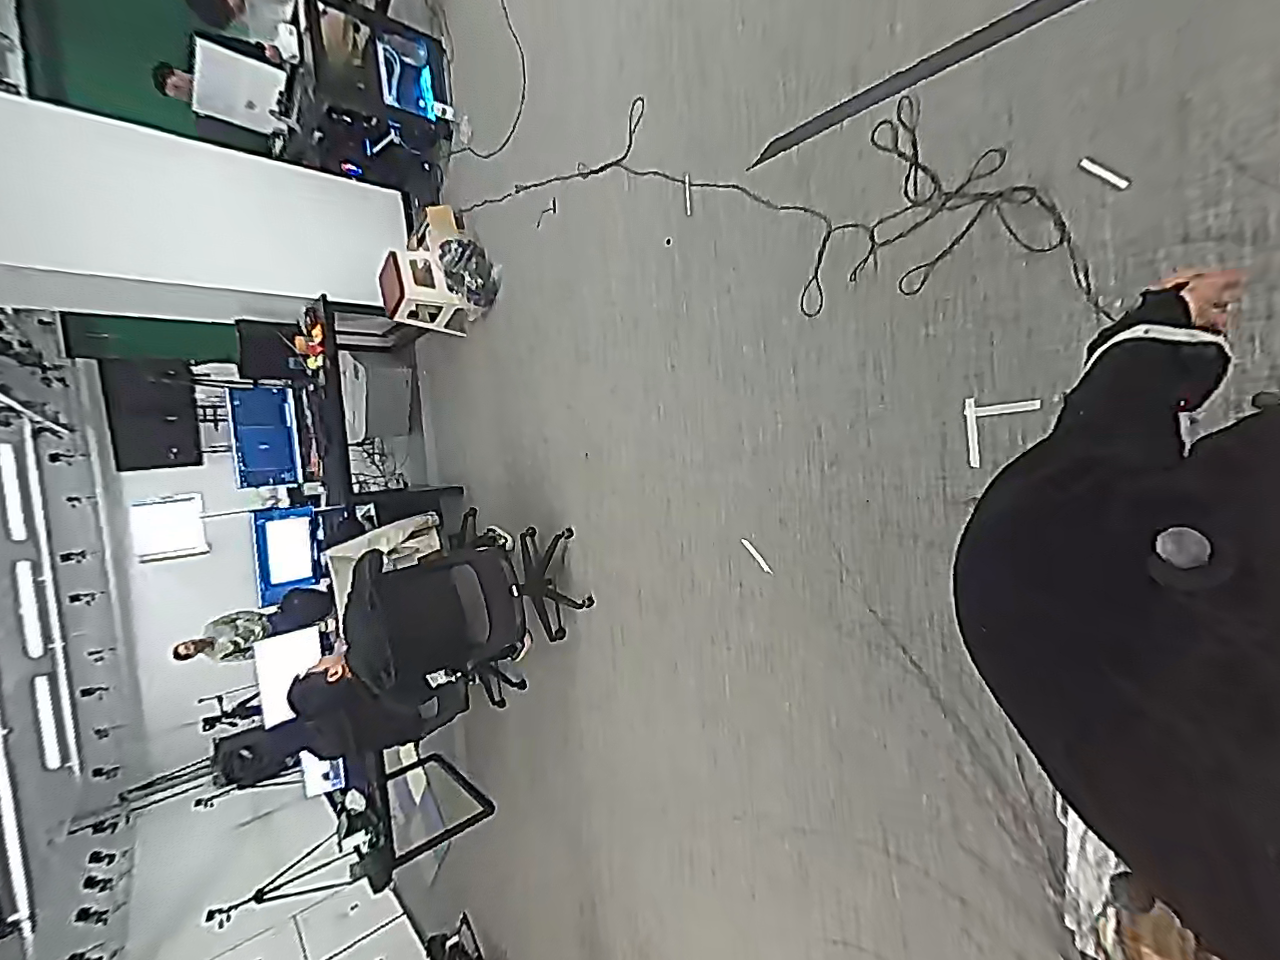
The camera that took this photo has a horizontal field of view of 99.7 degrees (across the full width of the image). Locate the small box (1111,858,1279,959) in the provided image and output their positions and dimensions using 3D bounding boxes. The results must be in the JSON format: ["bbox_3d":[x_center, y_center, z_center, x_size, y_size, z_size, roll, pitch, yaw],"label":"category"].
[{"bbox_3d":[0.670,0.604,0.632,0.168,0.176,0.179,2,96,47],"label":"small box"}]
